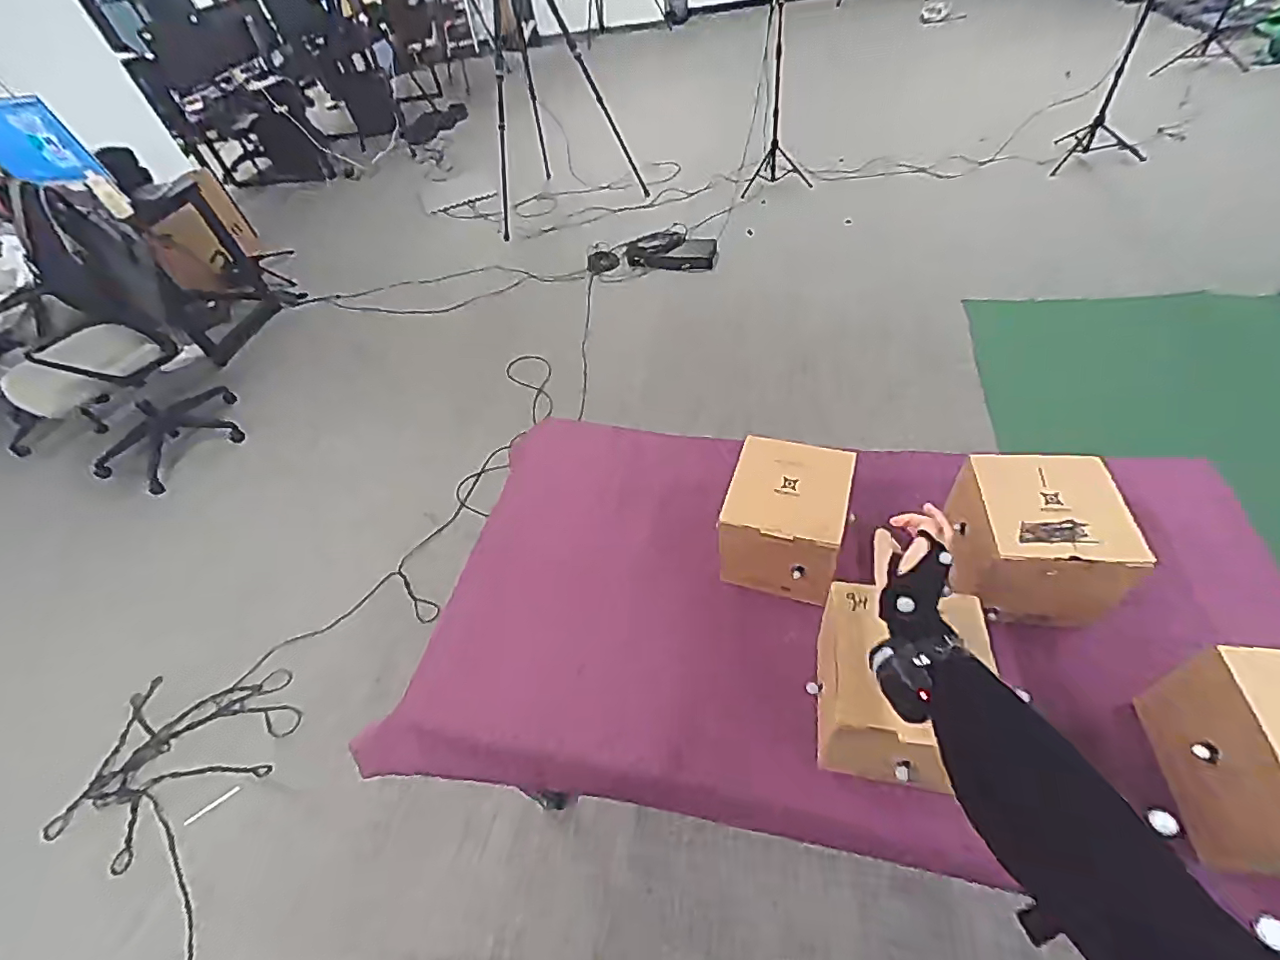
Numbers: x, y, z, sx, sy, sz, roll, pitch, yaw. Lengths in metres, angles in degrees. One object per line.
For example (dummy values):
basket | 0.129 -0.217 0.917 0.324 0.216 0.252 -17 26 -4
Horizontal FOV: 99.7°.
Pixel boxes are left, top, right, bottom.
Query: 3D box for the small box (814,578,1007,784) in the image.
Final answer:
small box | 0.305 0.243 0.650 0.168 0.176 0.179 4 49 14

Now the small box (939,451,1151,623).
small box | 0.538 0.080 0.752 0.168 0.176 0.179 3 49 12

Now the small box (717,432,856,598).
small box | 0.224 0.056 0.832 0.168 0.176 0.179 12 53 19
